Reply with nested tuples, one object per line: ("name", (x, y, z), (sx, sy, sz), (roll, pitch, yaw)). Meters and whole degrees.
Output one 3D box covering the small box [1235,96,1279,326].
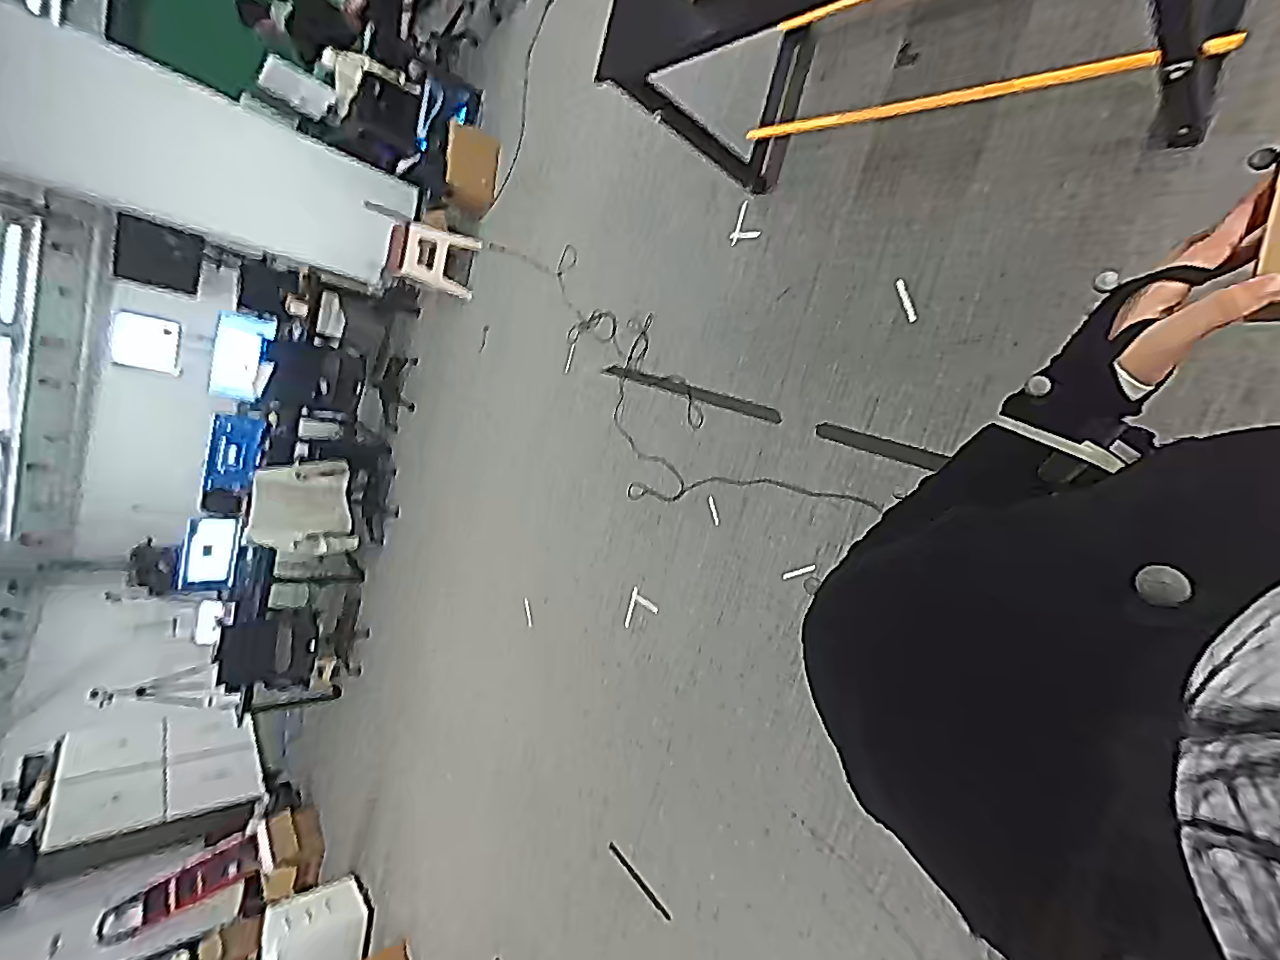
("small box", (0.468, -0.185, 0.301), (0.168, 0.176, 0.179), (13, 106, 46))
